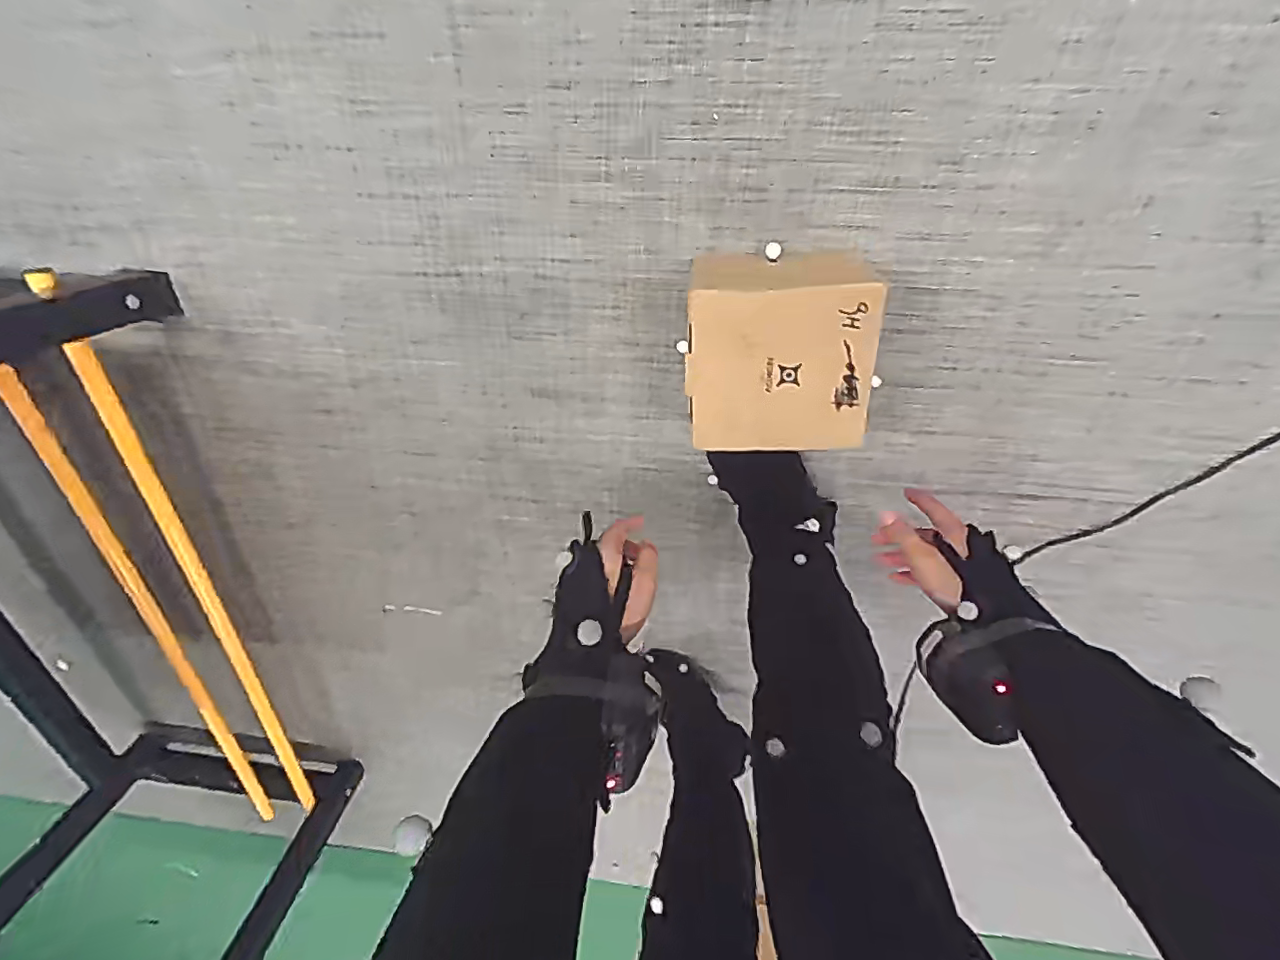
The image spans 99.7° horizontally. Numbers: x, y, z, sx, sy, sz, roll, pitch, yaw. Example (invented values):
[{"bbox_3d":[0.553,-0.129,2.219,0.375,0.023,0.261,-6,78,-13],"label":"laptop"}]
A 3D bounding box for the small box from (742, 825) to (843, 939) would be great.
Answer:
[{"bbox_3d":[0.329,0.907,1.211,0.179,0.176,0.168,6,122,3],"label":"small box"}]

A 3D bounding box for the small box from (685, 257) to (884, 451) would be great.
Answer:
[{"bbox_3d":[0.144,-0.143,0.593,0.179,0.176,0.168,1,121,8],"label":"small box"}]

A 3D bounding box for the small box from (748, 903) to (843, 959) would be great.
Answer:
[{"bbox_3d":[0.307,0.978,1.066,0.168,0.176,0.179,3,121,4],"label":"small box"}]
